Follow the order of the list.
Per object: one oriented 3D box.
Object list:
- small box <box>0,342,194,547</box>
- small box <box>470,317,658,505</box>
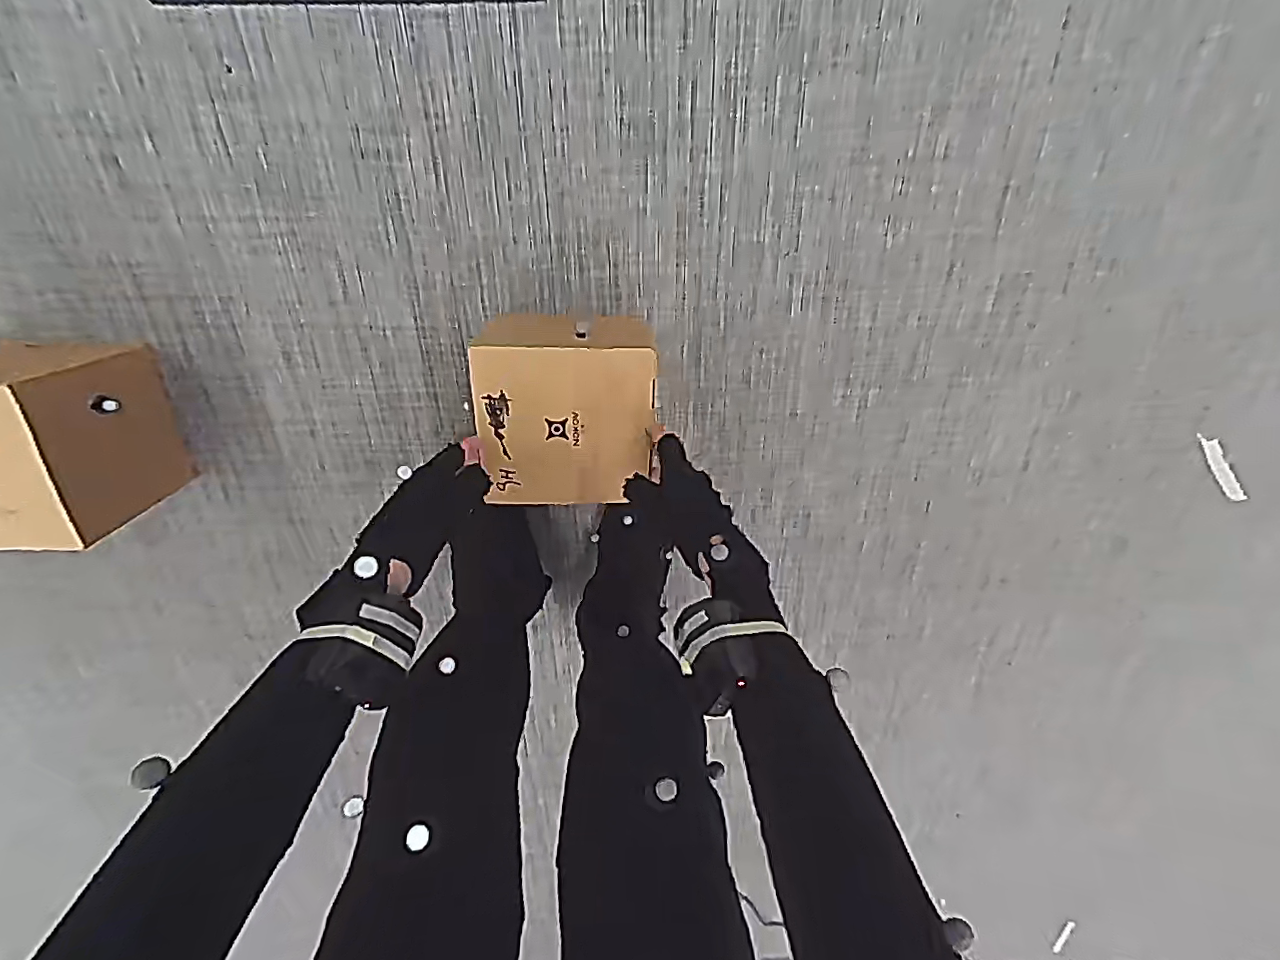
[{"bbox_3d":[-0.640,-0.046,0.580,0.168,0.176,0.179,1,116,-3],"label":"small box"},{"bbox_3d":[-0.079,-0.085,0.603,0.179,0.176,0.168,-1,116,-5],"label":"small box"}]
